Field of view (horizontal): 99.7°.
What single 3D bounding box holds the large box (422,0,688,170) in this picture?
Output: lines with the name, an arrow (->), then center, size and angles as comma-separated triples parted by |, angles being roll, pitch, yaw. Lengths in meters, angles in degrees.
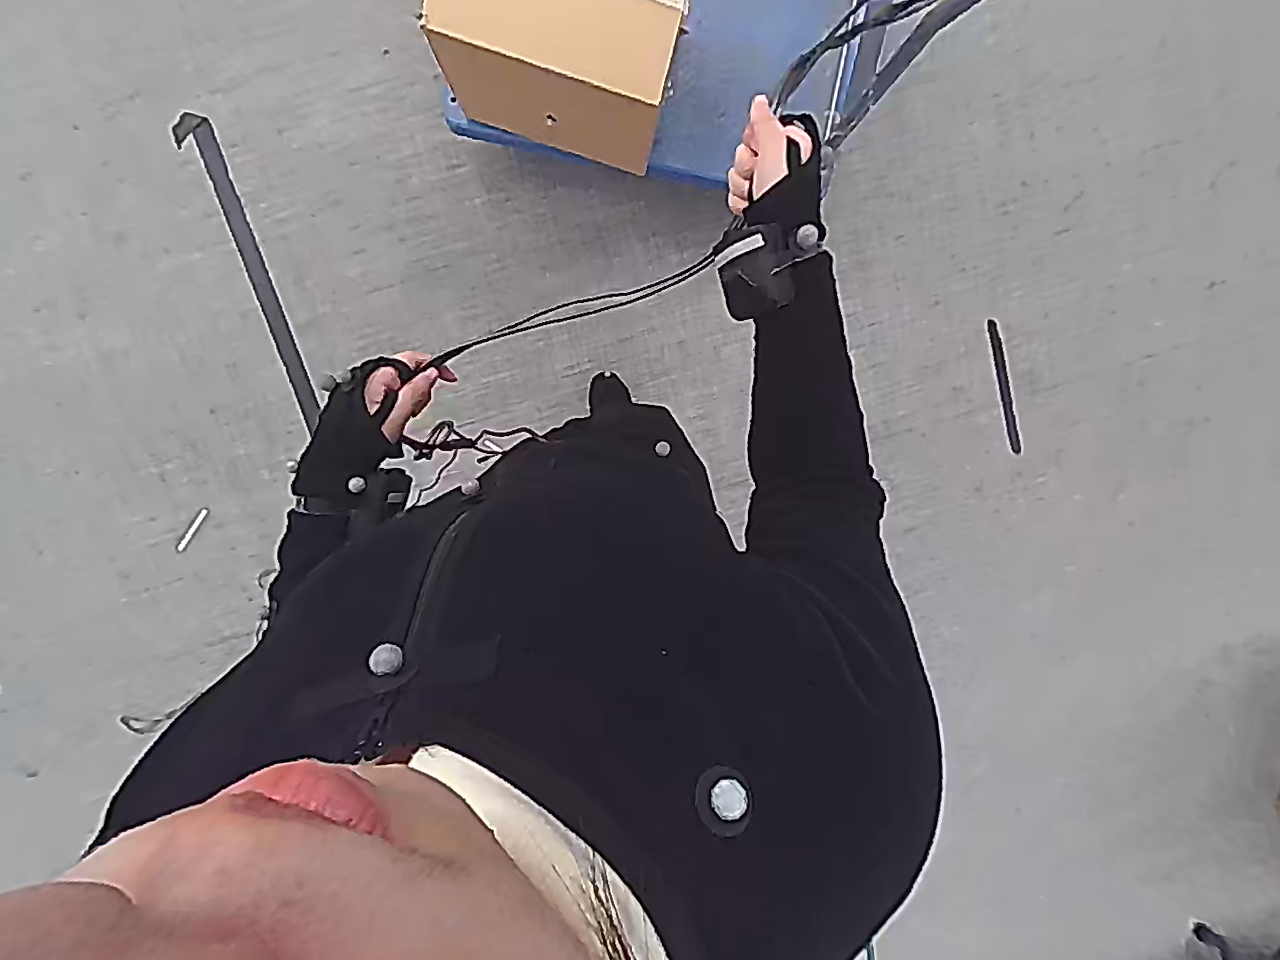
large box -> -0.128, -0.842, 1.007 | 0.408, 0.320, 0.320 | 15, 98, -6
